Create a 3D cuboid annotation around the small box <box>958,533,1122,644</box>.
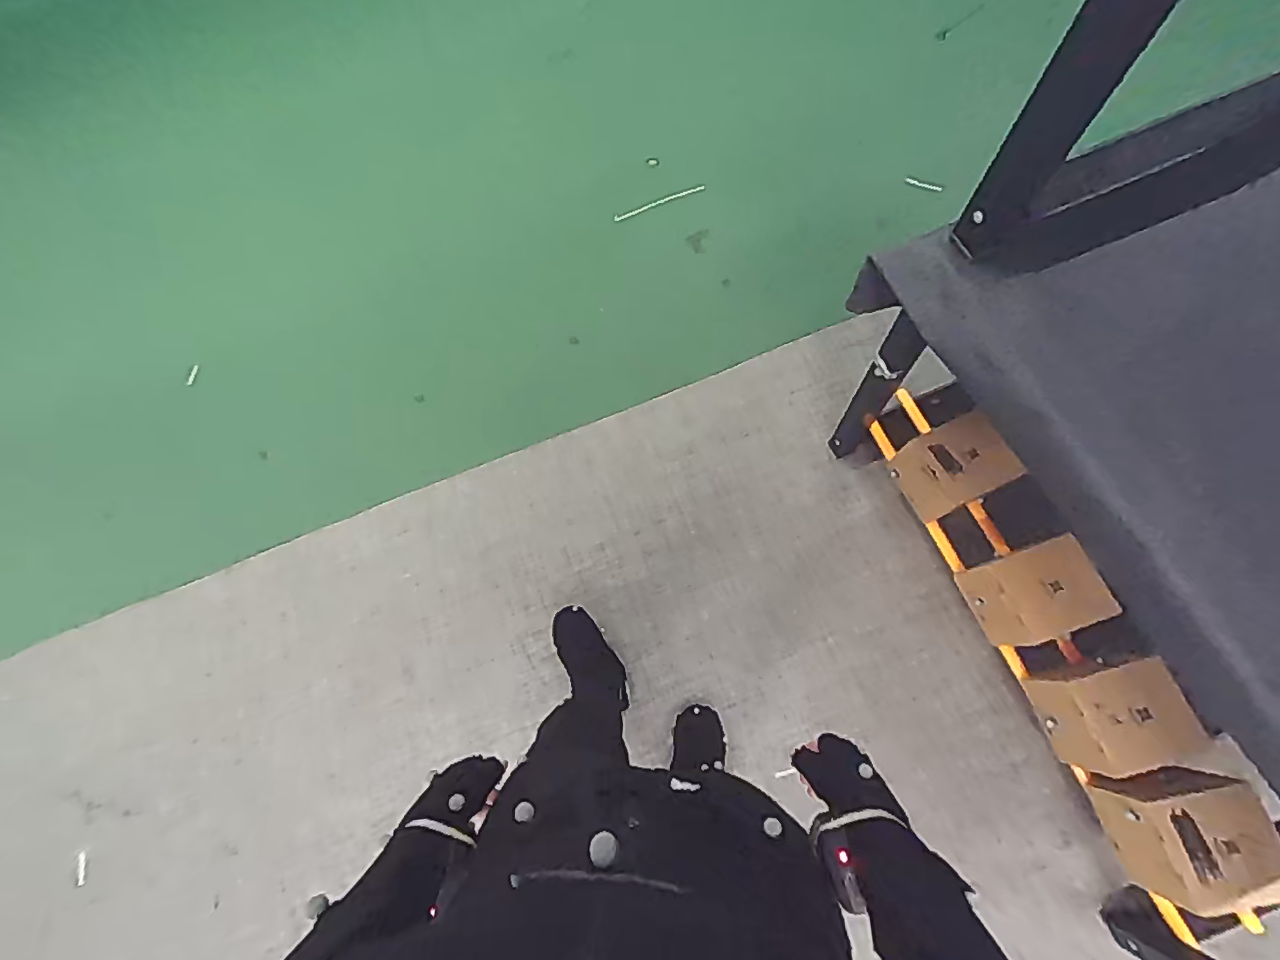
[{"bbox_3d":[0.799,0.224,1.102,0.179,0.176,0.168,-22,71,2],"label":"small box"}]
